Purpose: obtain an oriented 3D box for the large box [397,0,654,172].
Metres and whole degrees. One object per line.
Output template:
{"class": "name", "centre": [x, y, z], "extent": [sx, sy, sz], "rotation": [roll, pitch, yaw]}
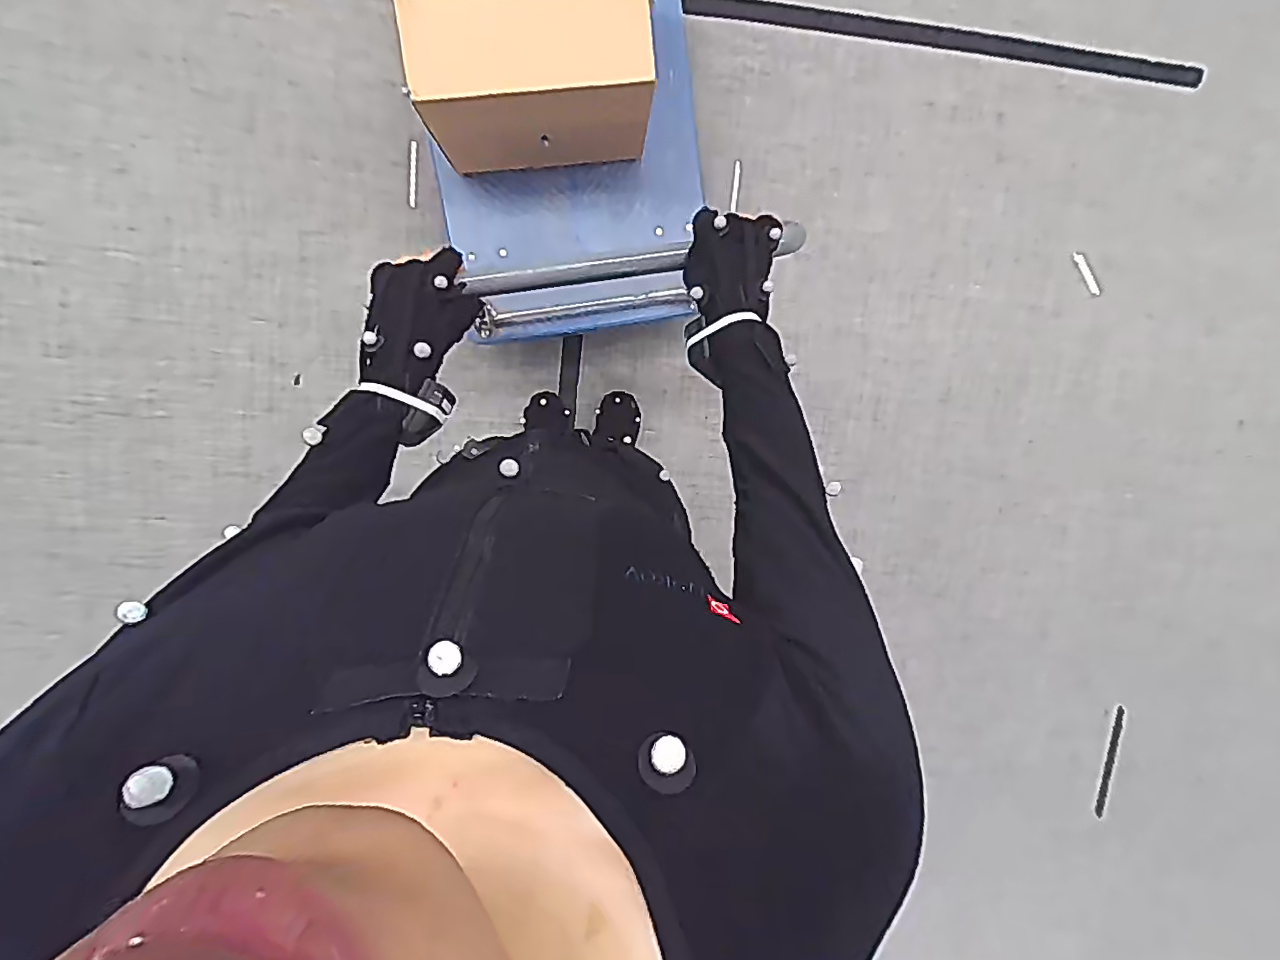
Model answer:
{"class": "large box", "centre": [-0.199, -0.815, 1.017], "extent": [0.408, 0.320, 0.320], "rotation": [-7, 100, -2]}
